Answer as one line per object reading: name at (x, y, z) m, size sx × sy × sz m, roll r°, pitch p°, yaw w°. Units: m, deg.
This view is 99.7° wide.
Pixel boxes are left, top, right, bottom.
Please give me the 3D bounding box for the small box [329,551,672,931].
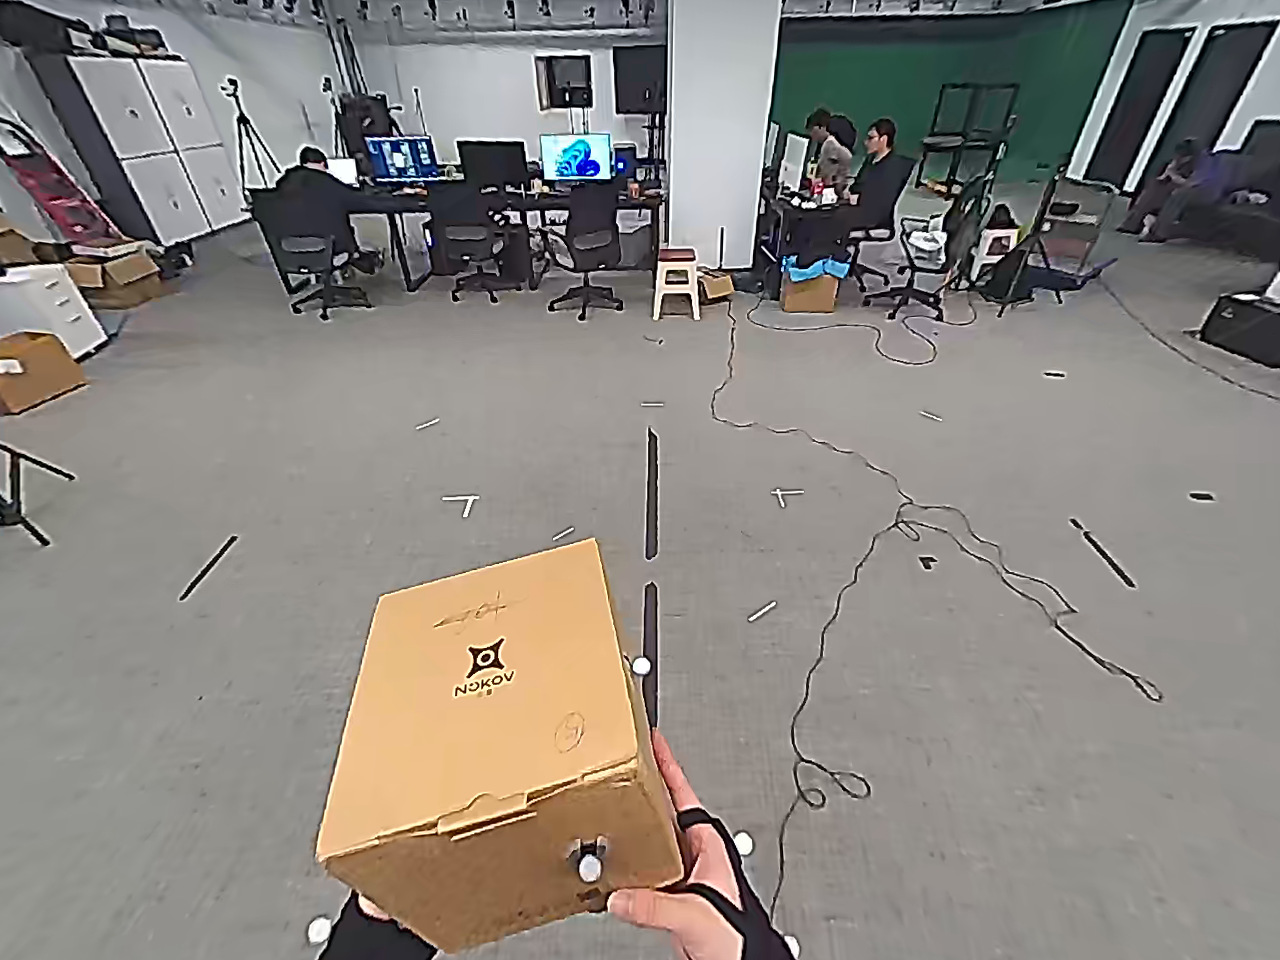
small box at (-0.082, 0.186, 0.389) m, size 0.168 × 0.176 × 0.179 m, roll -15°, pitch 36°, yaw -4°
